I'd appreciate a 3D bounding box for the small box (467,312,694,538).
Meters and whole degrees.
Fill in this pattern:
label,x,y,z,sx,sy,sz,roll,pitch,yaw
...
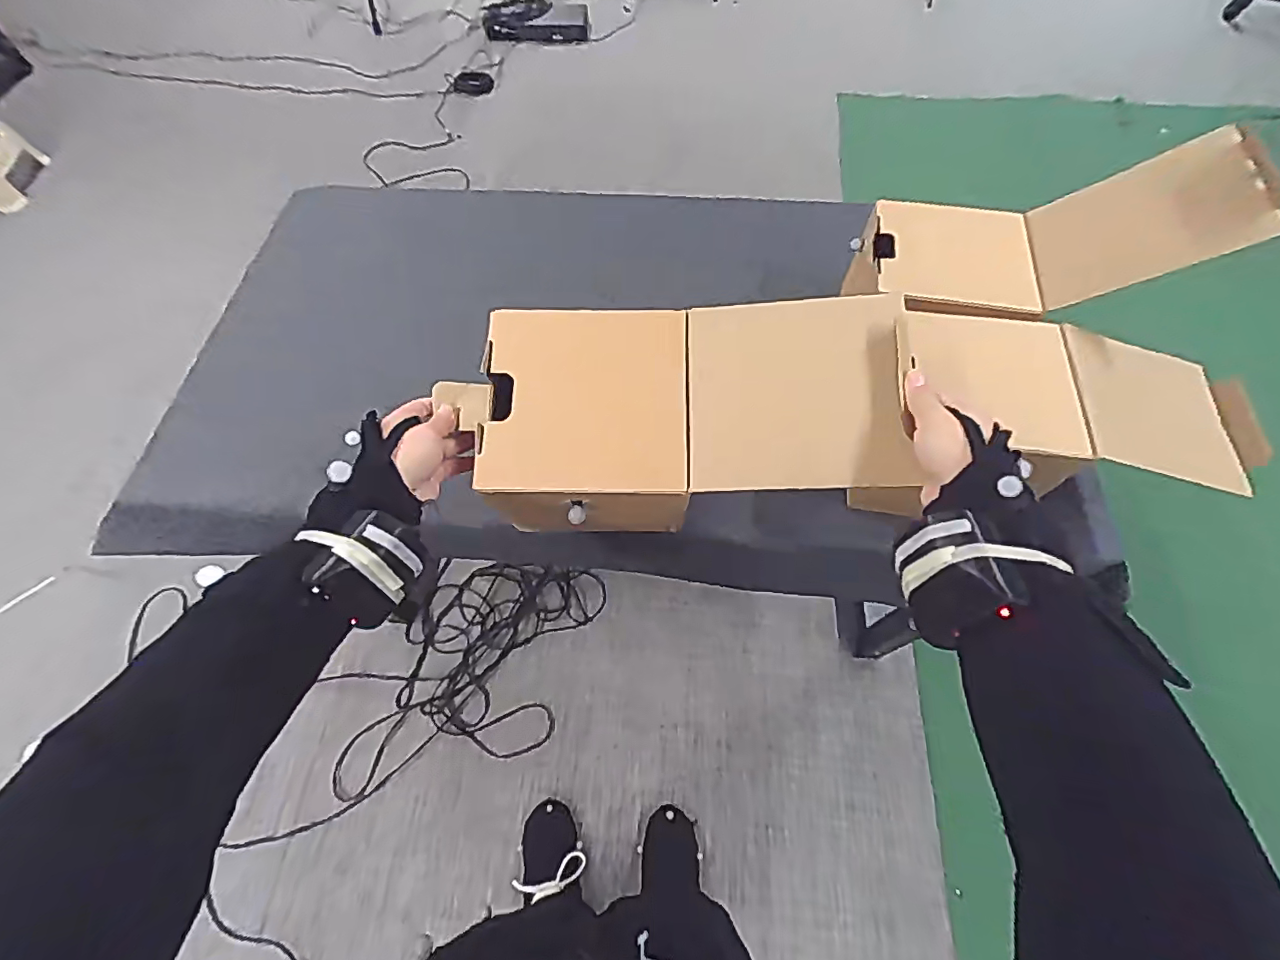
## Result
label,x,y,z,sx,sy,sz,roll,pitch,yaw
small box,-0.044,-0.040,0.523,0.179,0.176,0.168,3,74,3
